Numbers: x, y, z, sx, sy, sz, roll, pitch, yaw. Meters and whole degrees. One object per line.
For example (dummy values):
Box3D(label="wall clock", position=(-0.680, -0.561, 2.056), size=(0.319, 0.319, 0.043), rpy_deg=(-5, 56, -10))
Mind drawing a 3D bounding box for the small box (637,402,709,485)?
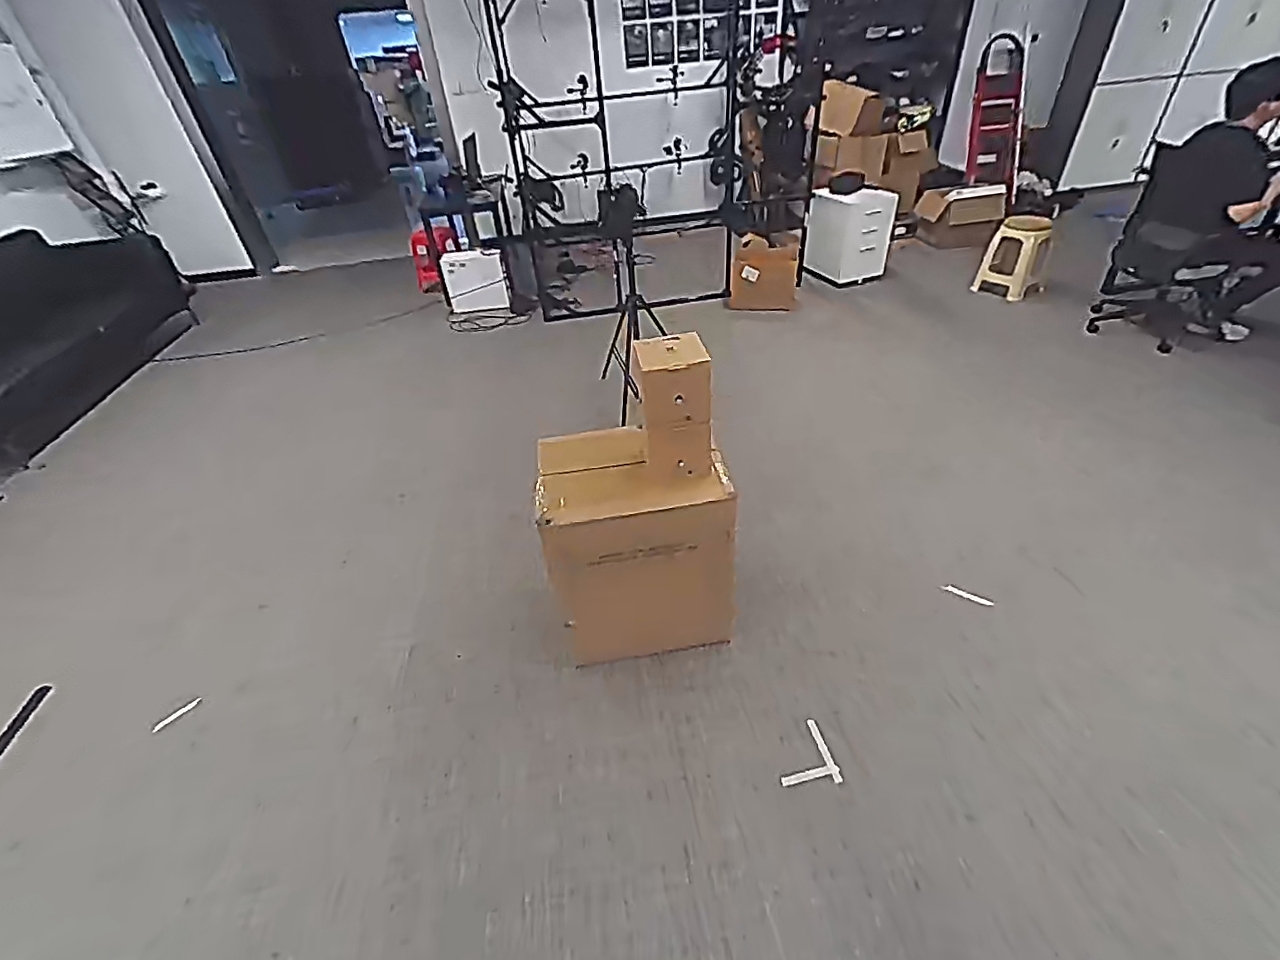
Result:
Box3D(label="small box", position=(0.088, -0.111, 1.473), size=(0.168, 0.176, 0.179), rpy_deg=(-10, 39, -4))

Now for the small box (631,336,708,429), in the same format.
Box3D(label="small box", position=(0.076, -0.242, 1.375), size=(0.168, 0.176, 0.179), rpy_deg=(-9, 39, -3))
